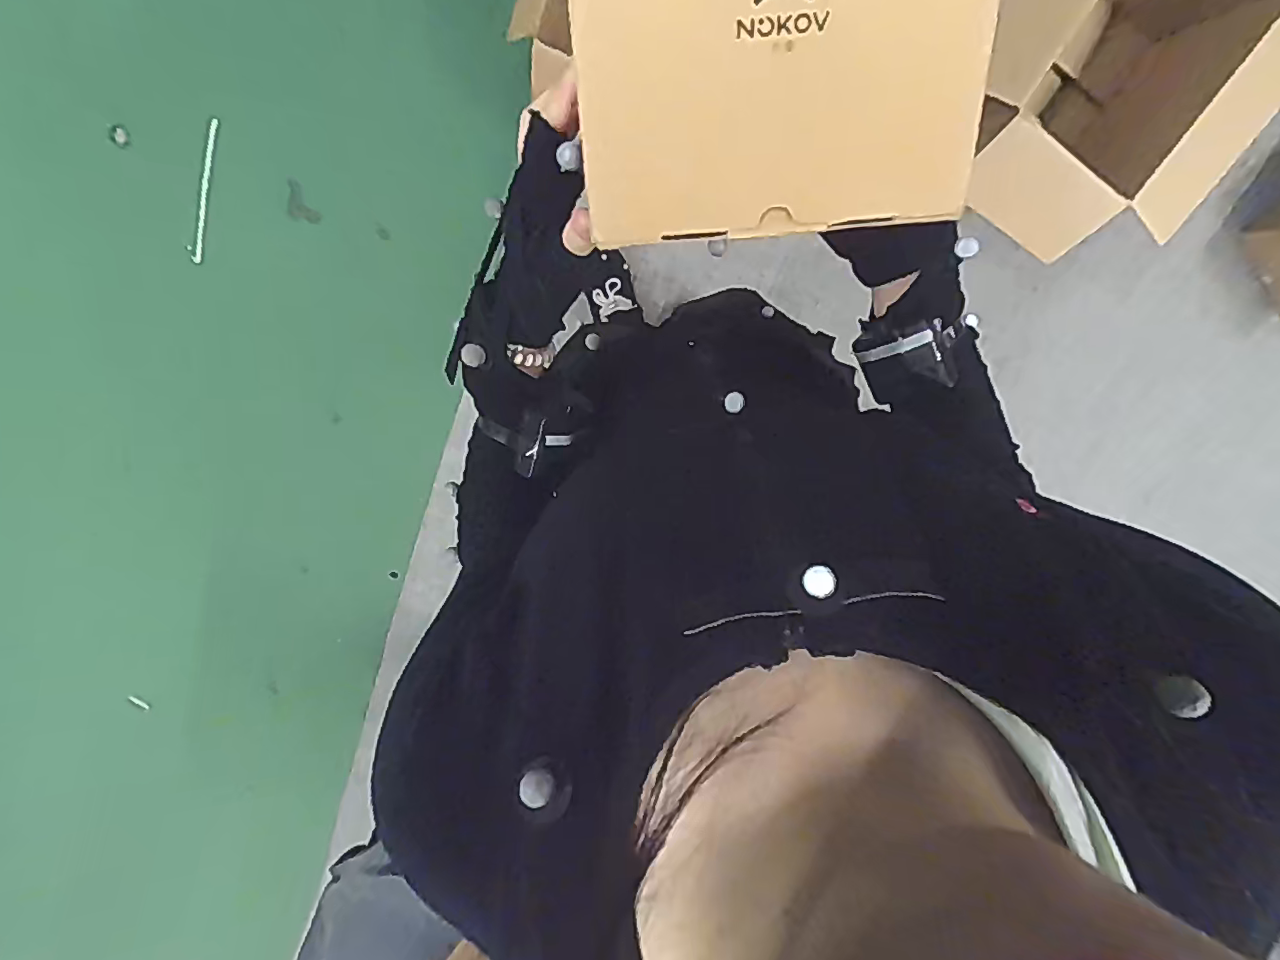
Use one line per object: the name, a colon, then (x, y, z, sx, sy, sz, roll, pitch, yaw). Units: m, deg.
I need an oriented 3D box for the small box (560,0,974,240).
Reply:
small box: (0.049, -0.227, 0.282, 0.168, 0.176, 0.179, -4, 116, 3)
